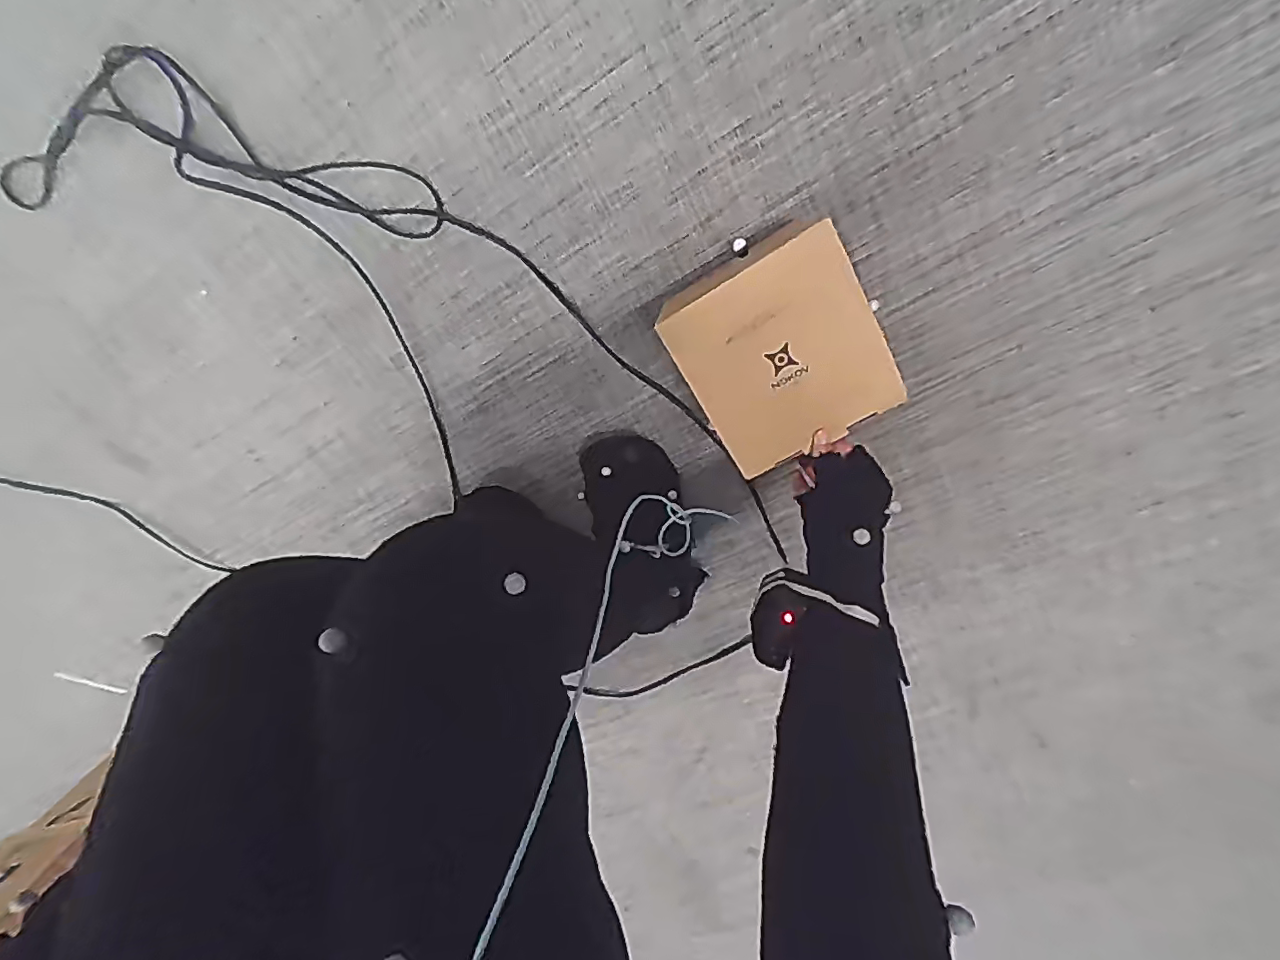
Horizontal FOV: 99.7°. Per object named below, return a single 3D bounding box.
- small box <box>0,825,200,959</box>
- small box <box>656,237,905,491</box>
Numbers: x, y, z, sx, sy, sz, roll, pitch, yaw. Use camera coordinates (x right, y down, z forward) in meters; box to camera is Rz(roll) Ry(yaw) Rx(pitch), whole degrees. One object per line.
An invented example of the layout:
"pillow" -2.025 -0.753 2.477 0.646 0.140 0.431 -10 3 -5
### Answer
"small box" -0.632 0.503 0.568 0.168 0.176 0.179 -18 111 15
"small box" 0.133 -0.125 0.549 0.168 0.176 0.179 -28 110 17
